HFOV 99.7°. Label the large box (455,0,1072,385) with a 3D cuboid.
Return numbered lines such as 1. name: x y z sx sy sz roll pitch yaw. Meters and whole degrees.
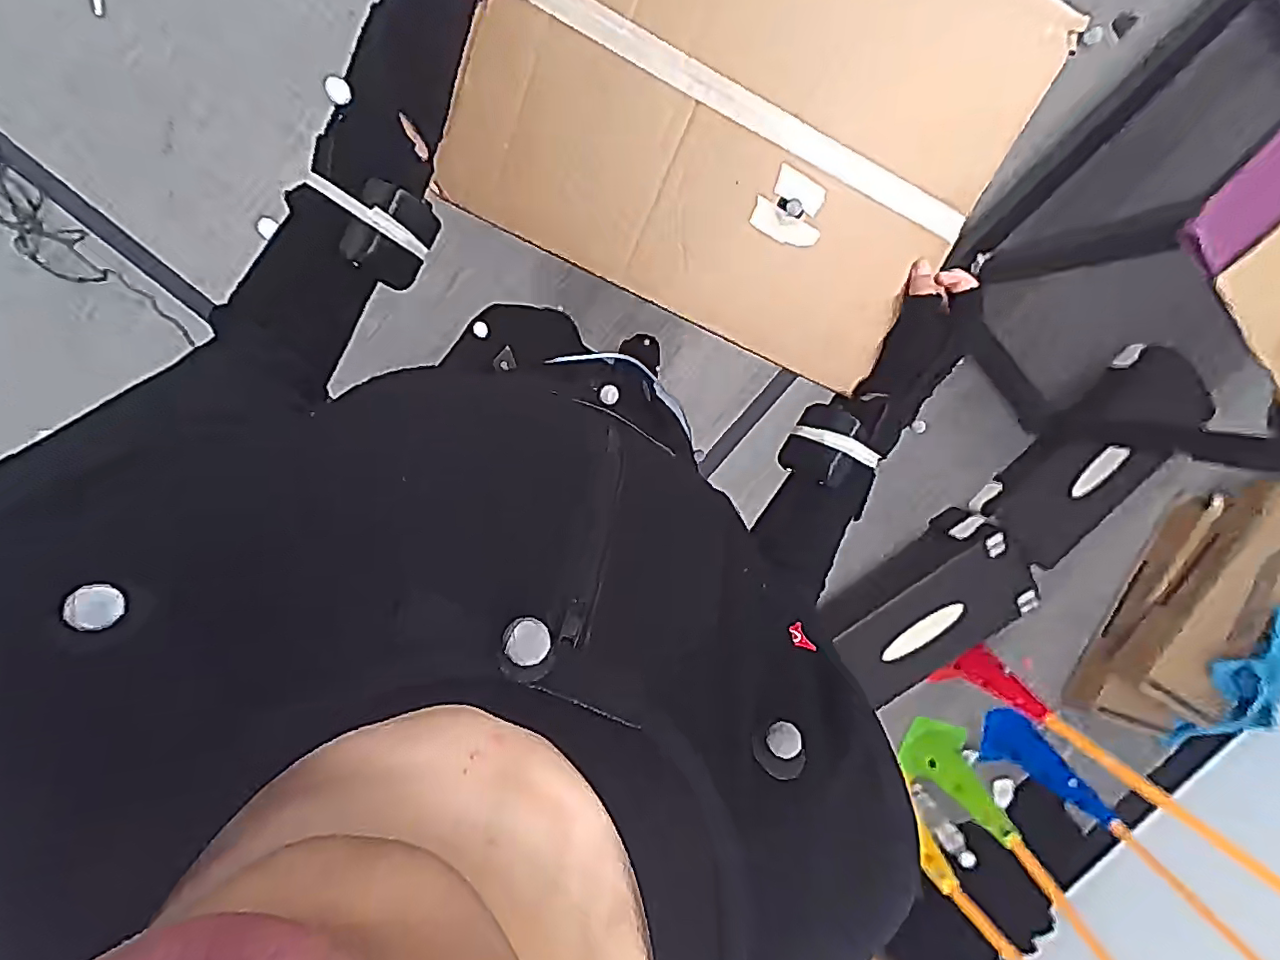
1. large box: 0.082 -0.345 0.561 0.408 0.320 0.320 23 111 -12
